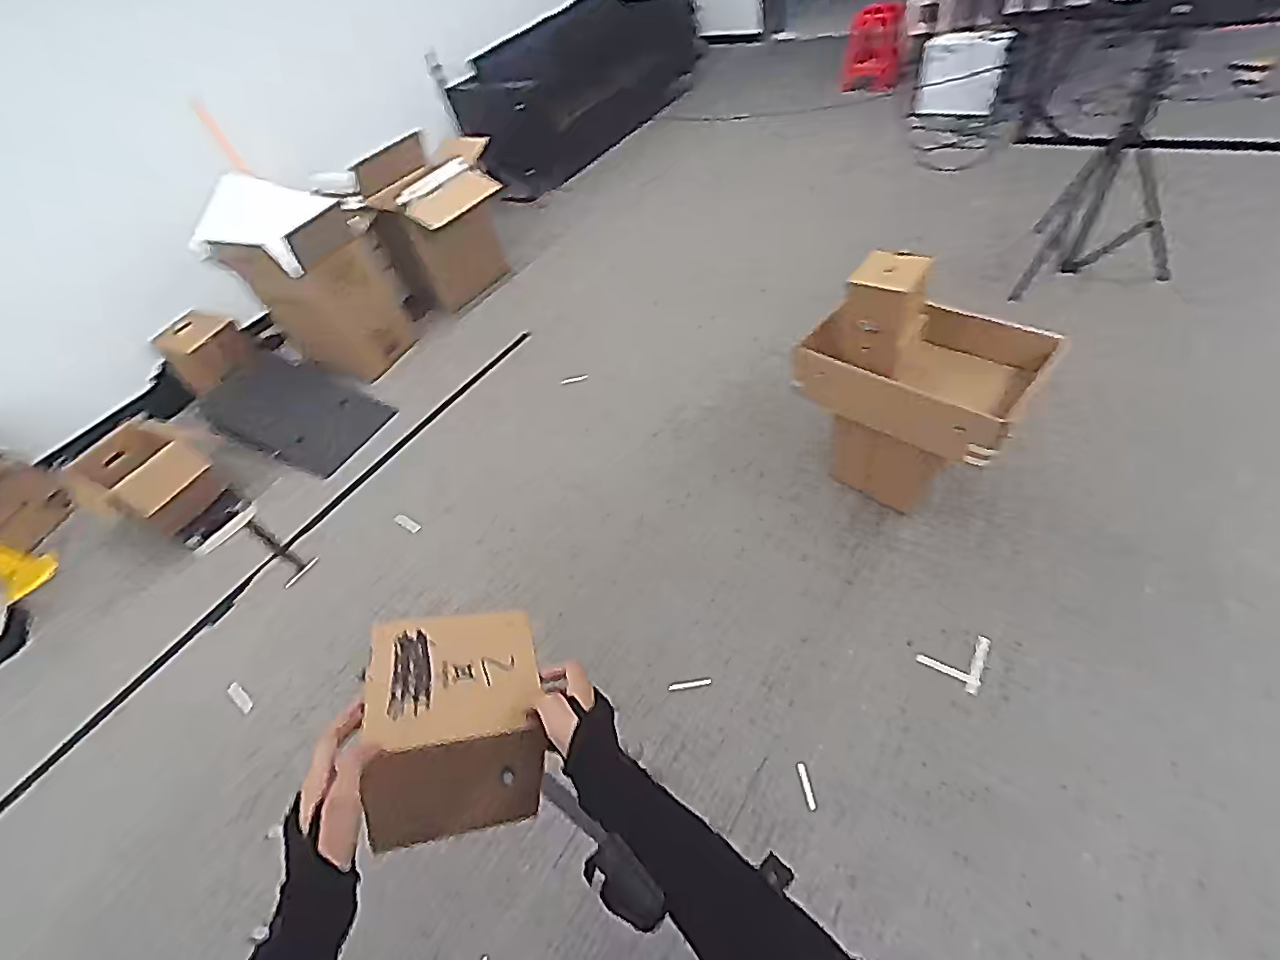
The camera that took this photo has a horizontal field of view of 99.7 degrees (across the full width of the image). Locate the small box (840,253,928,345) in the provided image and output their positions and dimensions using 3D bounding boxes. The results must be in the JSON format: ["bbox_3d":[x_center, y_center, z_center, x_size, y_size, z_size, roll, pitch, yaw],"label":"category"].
[{"bbox_3d":[0.685,-0.515,1.536,0.168,0.176,0.179,26,59,32],"label":"small box"}]

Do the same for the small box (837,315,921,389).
[{"bbox_3d":[0.721,-0.405,1.652,0.179,0.176,0.168,29,62,31],"label":"small box"}]
